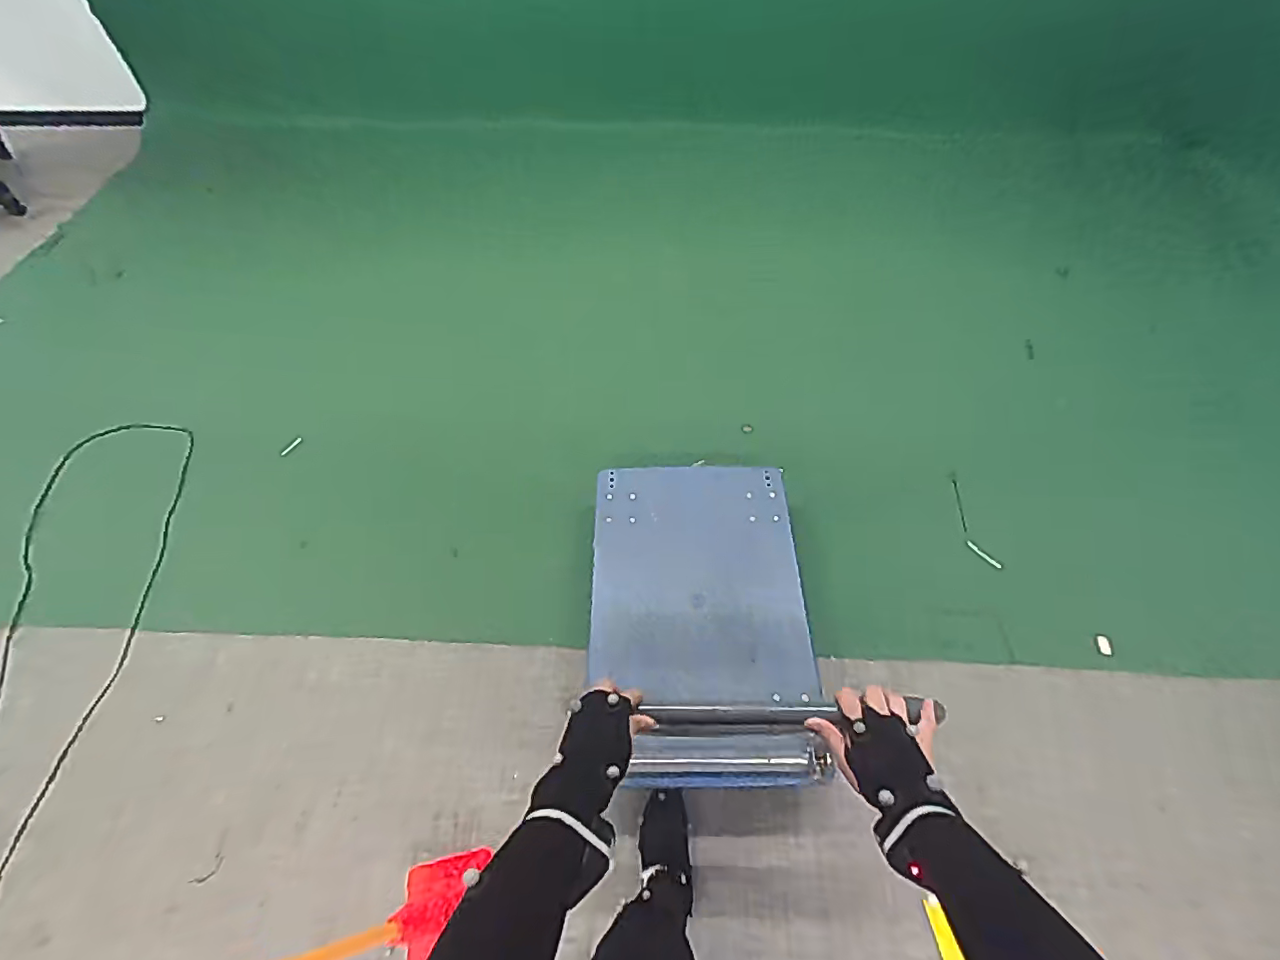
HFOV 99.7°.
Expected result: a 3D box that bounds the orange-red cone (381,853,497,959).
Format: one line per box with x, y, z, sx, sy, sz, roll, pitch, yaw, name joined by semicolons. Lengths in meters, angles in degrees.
-0.432;0.887;1.088;0.199;0.360;0.198;-11;56;-5;orange-red cone
